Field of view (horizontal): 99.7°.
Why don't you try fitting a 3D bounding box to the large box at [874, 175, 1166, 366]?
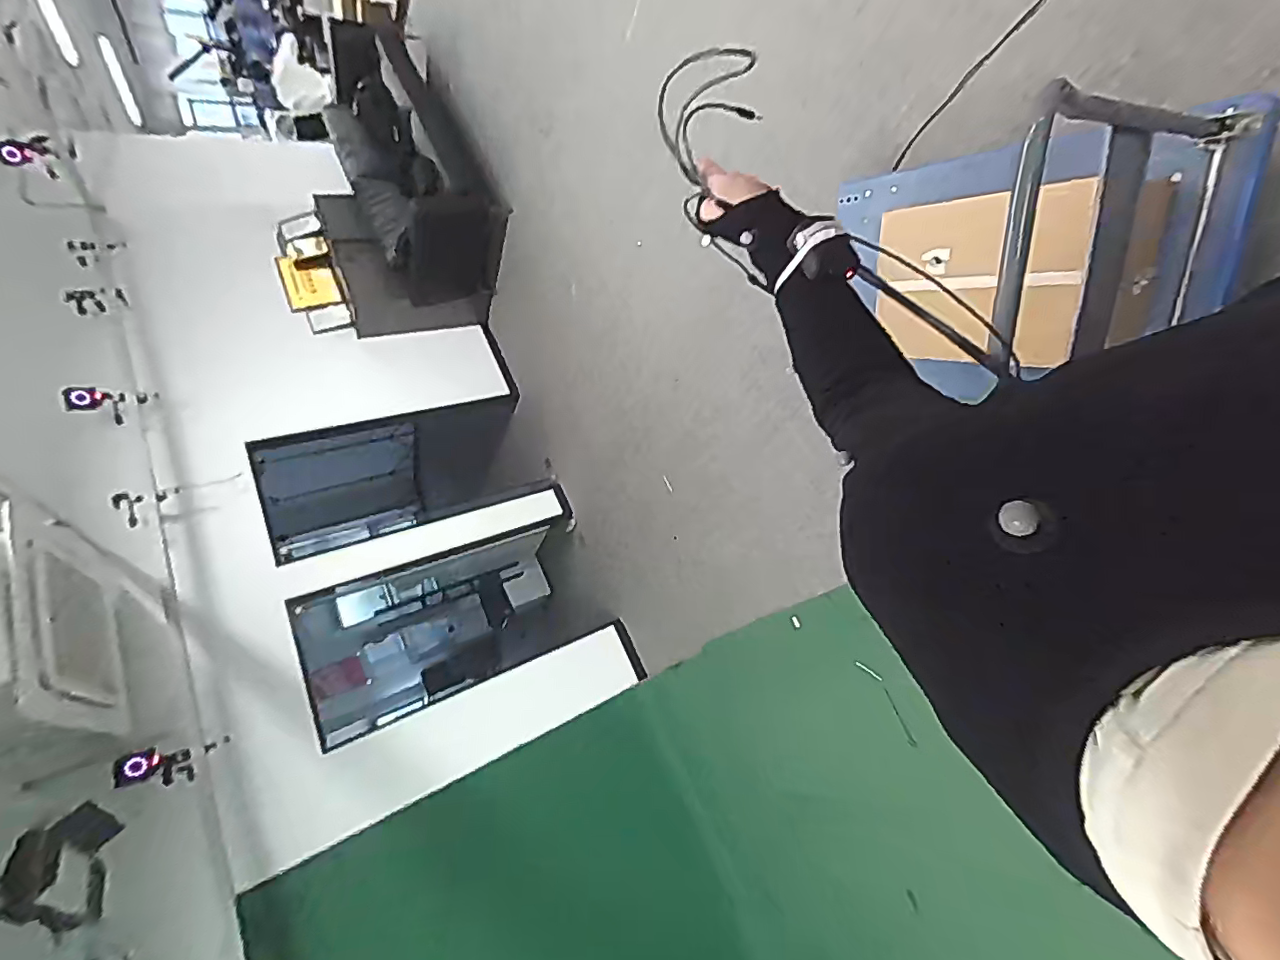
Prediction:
[{"bbox_3d":[0.775,-0.433,1.149,0.408,0.320,0.320,25,125,54],"label":"large box"}]
